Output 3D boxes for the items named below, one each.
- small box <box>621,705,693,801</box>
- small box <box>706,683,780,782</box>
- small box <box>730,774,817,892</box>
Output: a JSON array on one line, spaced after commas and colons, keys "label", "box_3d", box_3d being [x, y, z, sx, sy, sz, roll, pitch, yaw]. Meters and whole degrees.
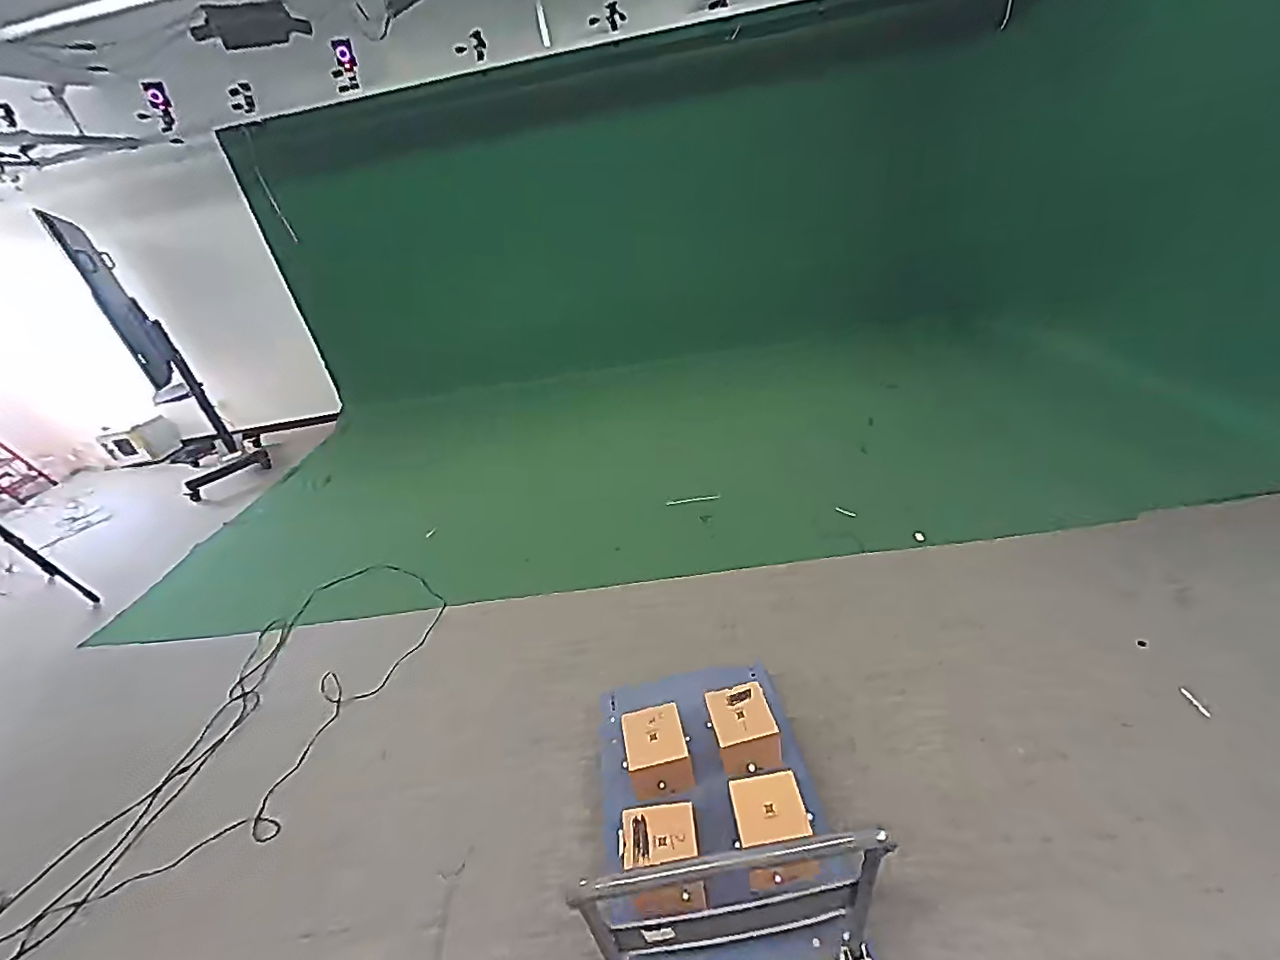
[{"label": "small box", "box_3d": [0.049, 0.781, 1.538, 0.168, 0.176, 0.179, -12, 30, -3]}, {"label": "small box", "box_3d": [0.294, 0.725, 1.554, 0.168, 0.176, 0.179, -13, 31, -3]}, {"label": "small box", "box_3d": [0.320, 0.860, 1.321, 0.168, 0.176, 0.179, -10, 31, 1]}]
